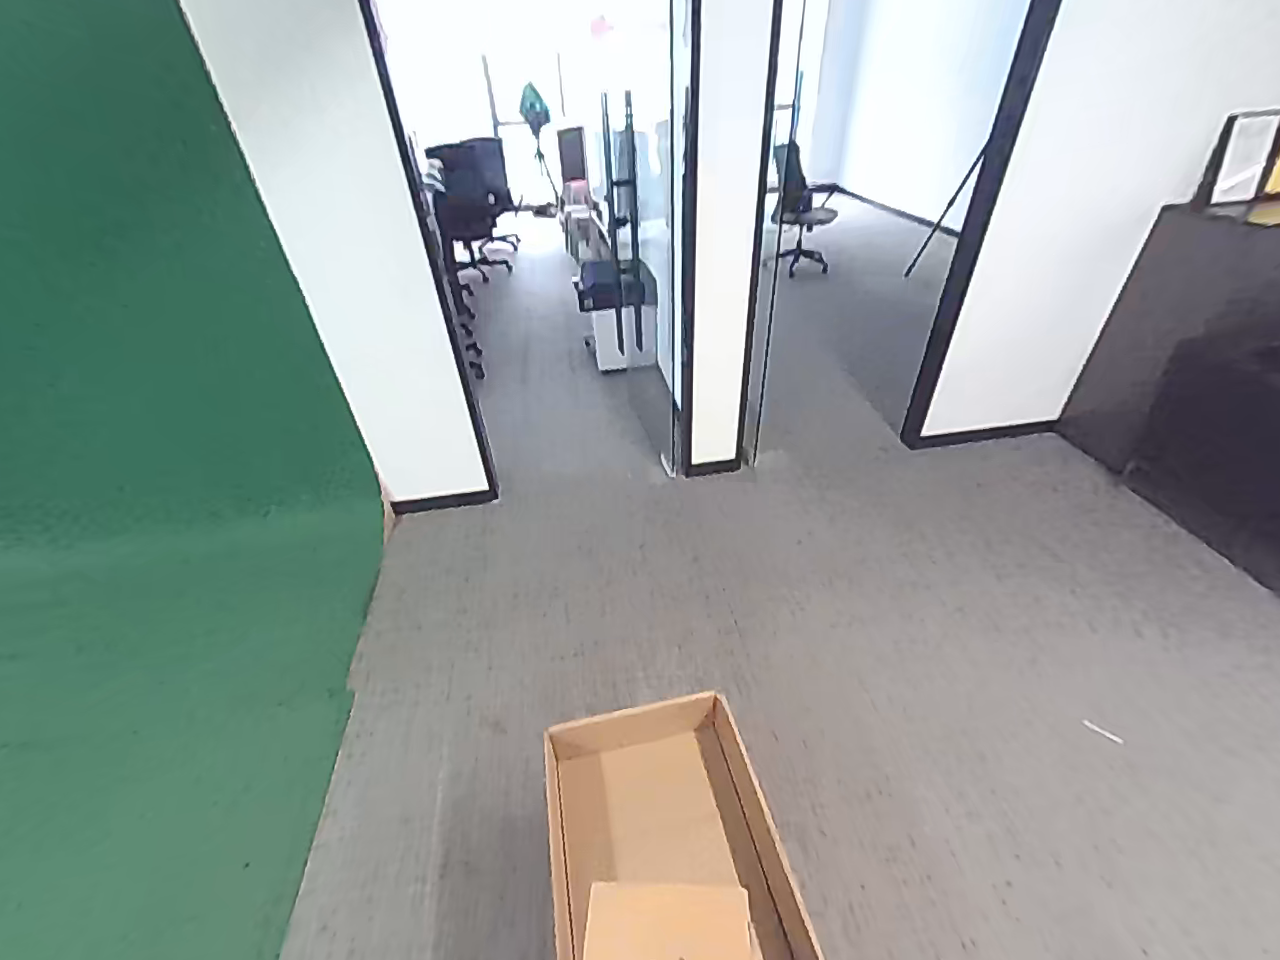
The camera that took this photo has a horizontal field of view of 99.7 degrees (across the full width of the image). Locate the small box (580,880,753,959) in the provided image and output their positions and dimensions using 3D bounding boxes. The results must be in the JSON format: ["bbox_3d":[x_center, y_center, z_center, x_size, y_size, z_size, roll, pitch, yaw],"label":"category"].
[{"bbox_3d":[0.027,0.556,0.564,0.179,0.176,0.168,0,29,3],"label":"small box"}]
